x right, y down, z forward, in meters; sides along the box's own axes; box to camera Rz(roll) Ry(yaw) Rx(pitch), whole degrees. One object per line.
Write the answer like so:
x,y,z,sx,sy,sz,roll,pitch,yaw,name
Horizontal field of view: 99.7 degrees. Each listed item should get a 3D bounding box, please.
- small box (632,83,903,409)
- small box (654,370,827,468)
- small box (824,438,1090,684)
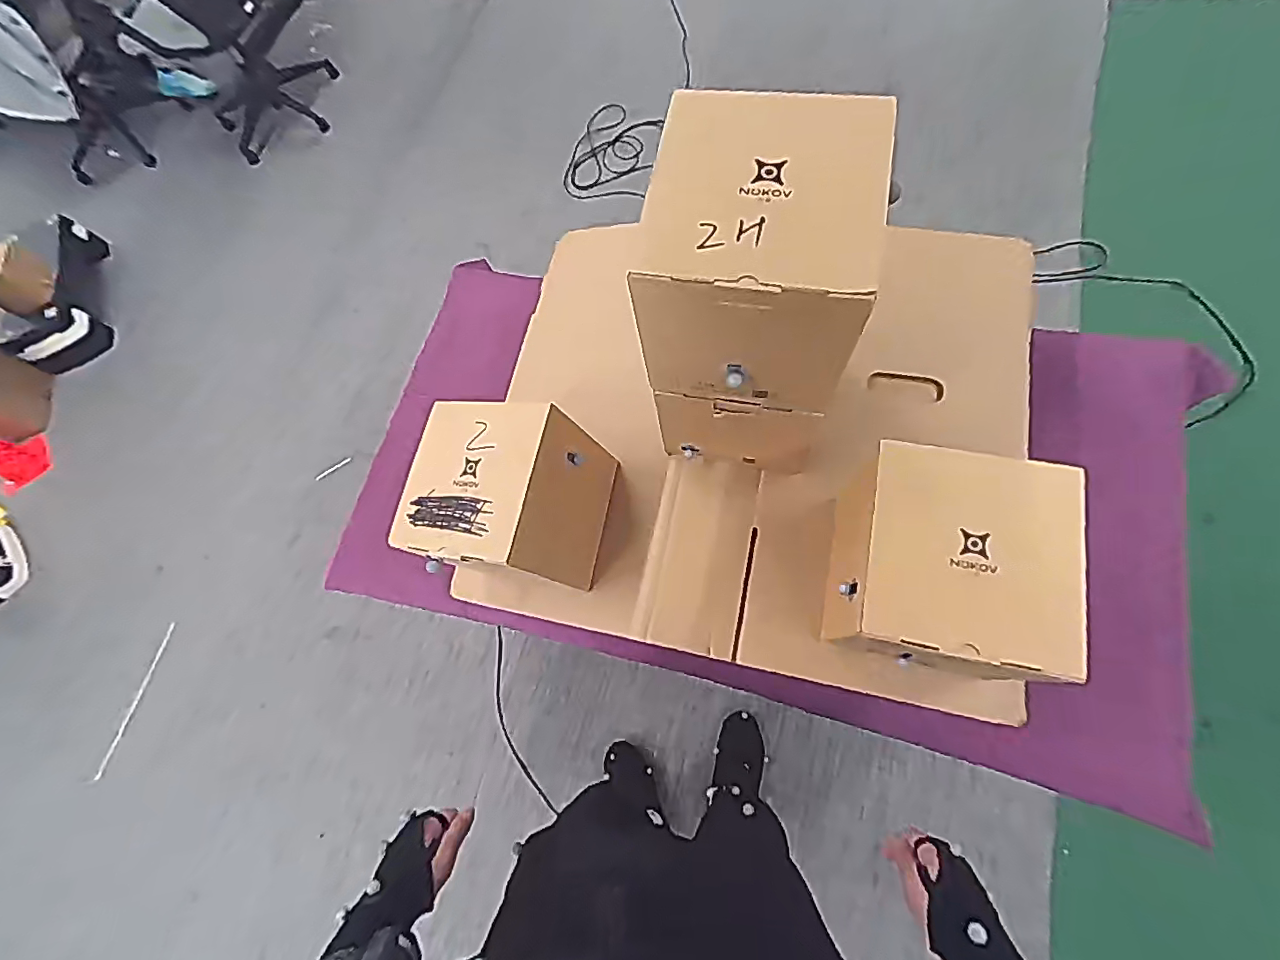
0.099,-0.182,0.450,0.168,0.176,0.179,10,74,10,small box
0.120,-0.128,0.604,0.168,0.176,0.179,10,73,10,small box
0.283,0.082,0.515,0.168,0.176,0.179,10,74,10,small box
